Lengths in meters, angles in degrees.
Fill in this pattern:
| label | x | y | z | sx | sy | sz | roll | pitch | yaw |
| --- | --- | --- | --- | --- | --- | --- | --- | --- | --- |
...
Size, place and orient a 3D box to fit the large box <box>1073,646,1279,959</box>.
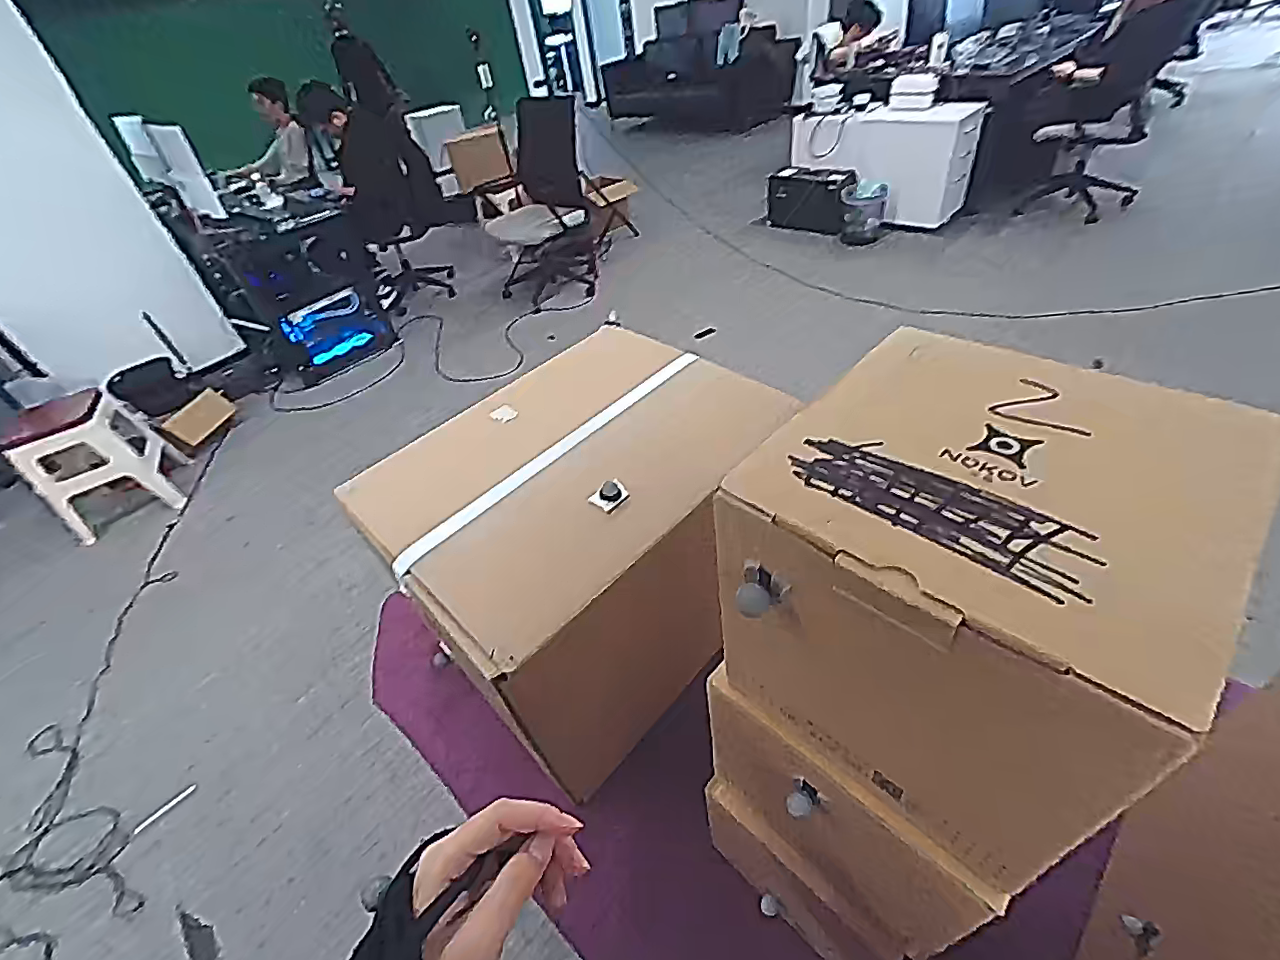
| label | x | y | z | sx | sy | sz | roll | pitch | yaw |
| --- | --- | --- | --- | --- | --- | --- | --- | --- | --- |
| large box | 0.449 | 0.359 | 0.271 | 0.320 | 0.320 | 0.408 | 29 | 54 | 35 |
